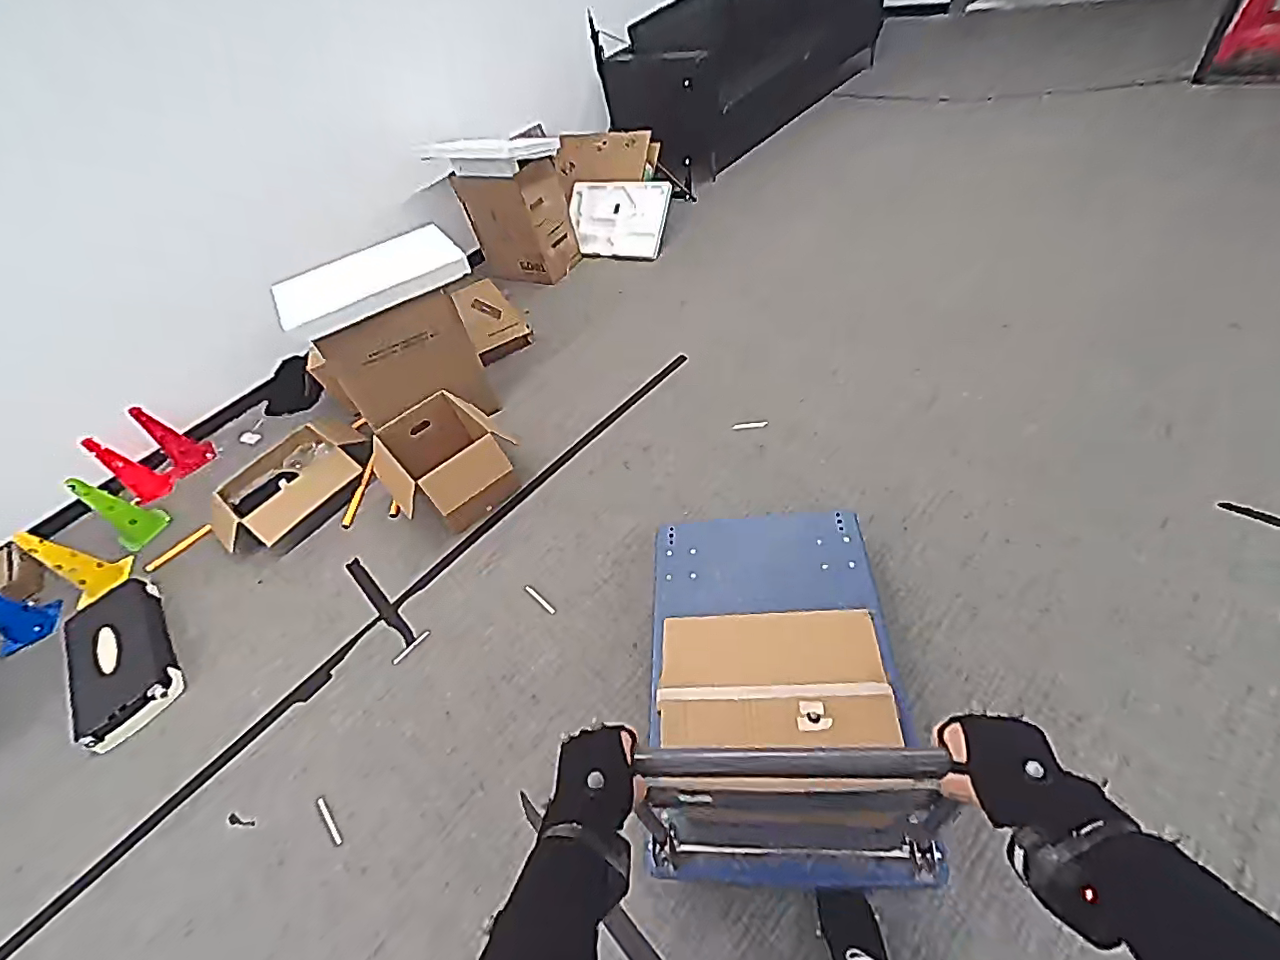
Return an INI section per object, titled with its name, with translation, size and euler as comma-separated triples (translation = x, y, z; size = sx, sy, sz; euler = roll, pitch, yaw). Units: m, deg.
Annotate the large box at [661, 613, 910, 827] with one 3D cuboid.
[large box]
translation = 0.262, 0.487, 1.081
size = 0.408, 0.320, 0.320
euler = -5, 49, 10
